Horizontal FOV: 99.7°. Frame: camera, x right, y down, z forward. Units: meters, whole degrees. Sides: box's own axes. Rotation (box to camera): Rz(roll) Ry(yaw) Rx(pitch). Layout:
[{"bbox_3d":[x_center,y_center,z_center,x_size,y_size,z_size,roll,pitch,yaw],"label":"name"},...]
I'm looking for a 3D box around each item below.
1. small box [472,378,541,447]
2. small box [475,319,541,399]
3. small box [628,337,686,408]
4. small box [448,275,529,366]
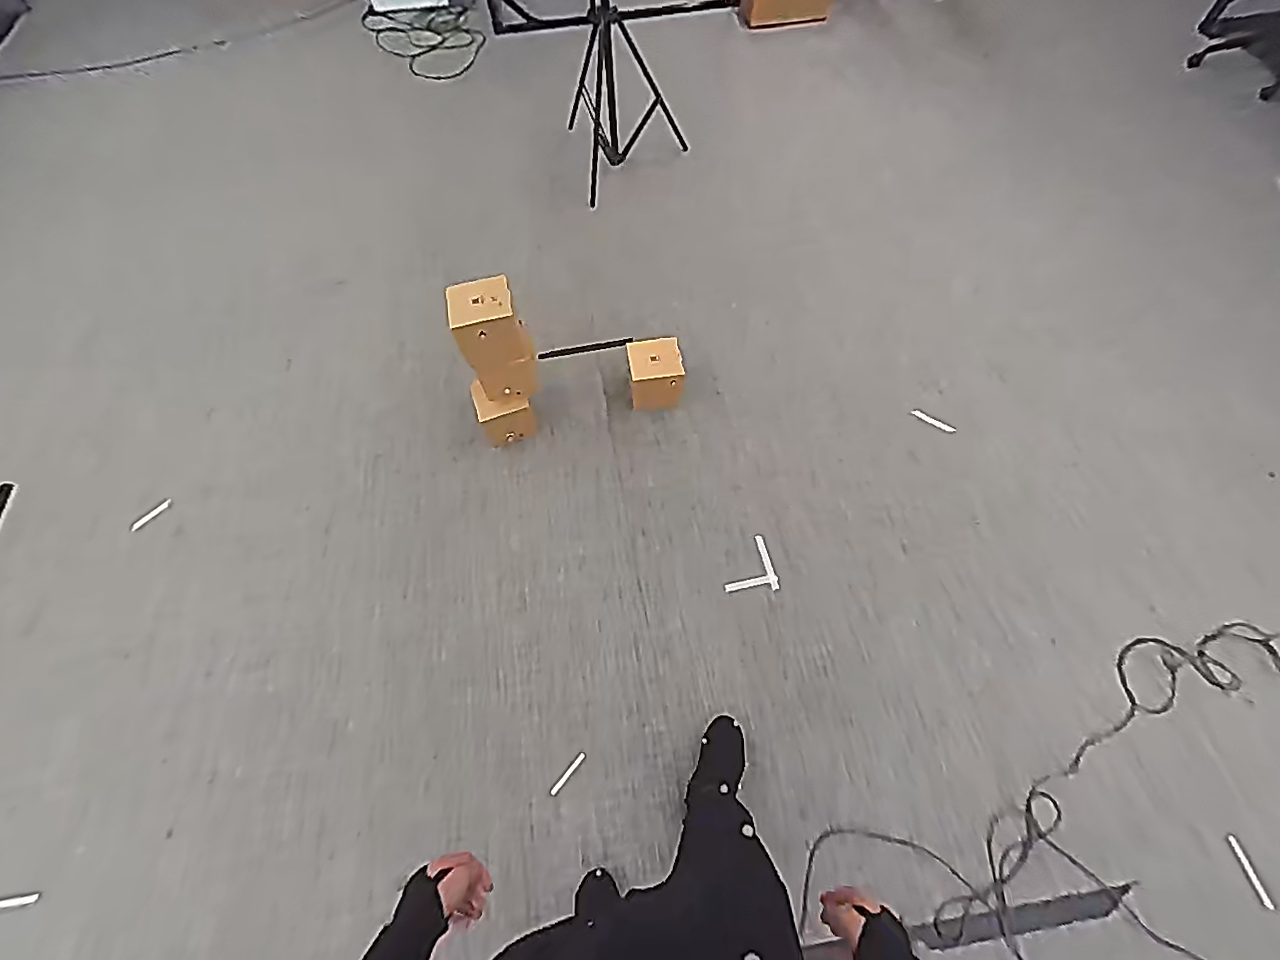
[{"bbox_3d":[-0.445,-0.241,1.811,0.168,0.176,0.179,-19,63,-7],"label":"small box"},{"bbox_3d":[-0.409,-0.377,1.697,0.168,0.176,0.179,-7,62,0],"label":"small box"},{"bbox_3d":[0.058,-0.363,1.857,0.179,0.176,0.168,-8,62,-3],"label":"small box"},{"bbox_3d":[-0.432,-0.452,1.552,0.179,0.176,0.168,-13,62,-4],"label":"small box"}]
